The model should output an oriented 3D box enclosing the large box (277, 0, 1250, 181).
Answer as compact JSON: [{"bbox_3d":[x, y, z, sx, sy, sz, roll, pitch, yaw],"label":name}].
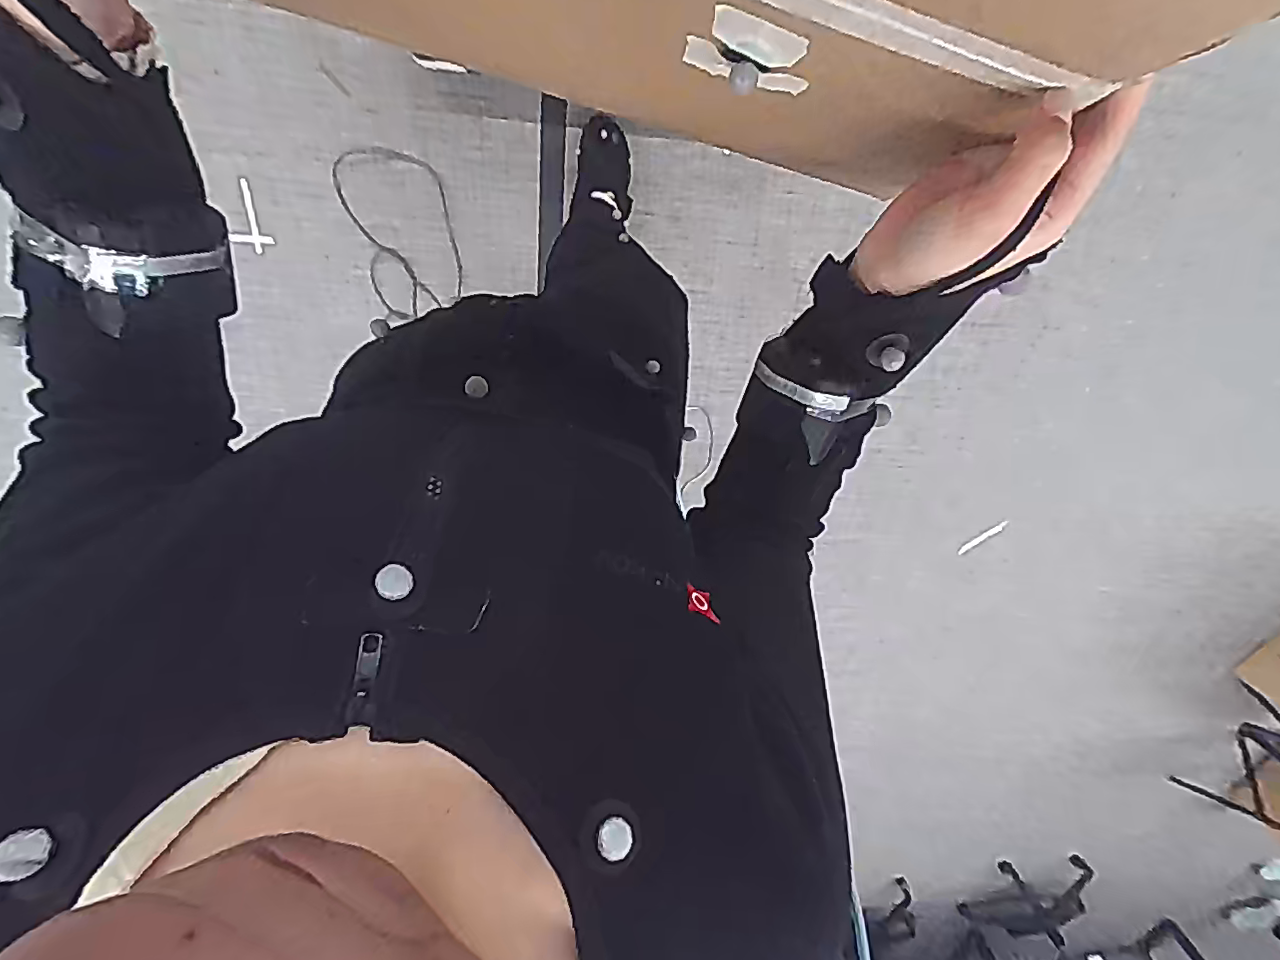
[{"bbox_3d":[0.024,-0.346,0.155,0.408,0.320,0.320,10,102,-10],"label":"large box"}]
